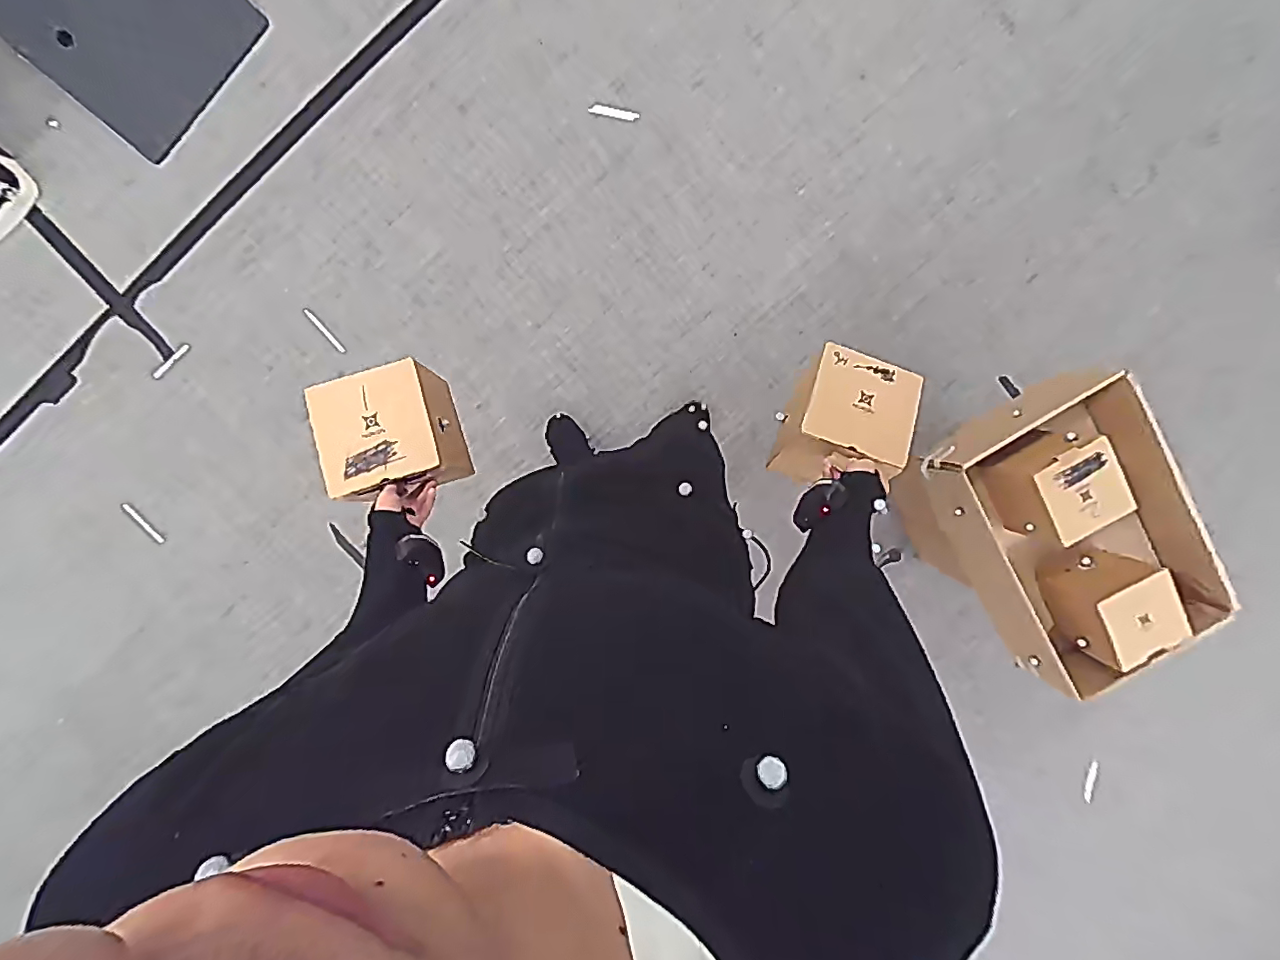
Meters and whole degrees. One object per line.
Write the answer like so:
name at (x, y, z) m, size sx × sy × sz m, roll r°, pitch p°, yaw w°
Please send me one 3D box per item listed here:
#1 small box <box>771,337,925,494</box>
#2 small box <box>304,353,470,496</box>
small box at (0.333, -0.097, 0.896) m, size 0.168 × 0.176 × 0.179 m, roll 22°, pitch 70°, yaw 2°
small box at (-0.388, -0.079, 0.863) m, size 0.168 × 0.176 × 0.179 m, roll -17°, pitch 87°, yaw -4°
